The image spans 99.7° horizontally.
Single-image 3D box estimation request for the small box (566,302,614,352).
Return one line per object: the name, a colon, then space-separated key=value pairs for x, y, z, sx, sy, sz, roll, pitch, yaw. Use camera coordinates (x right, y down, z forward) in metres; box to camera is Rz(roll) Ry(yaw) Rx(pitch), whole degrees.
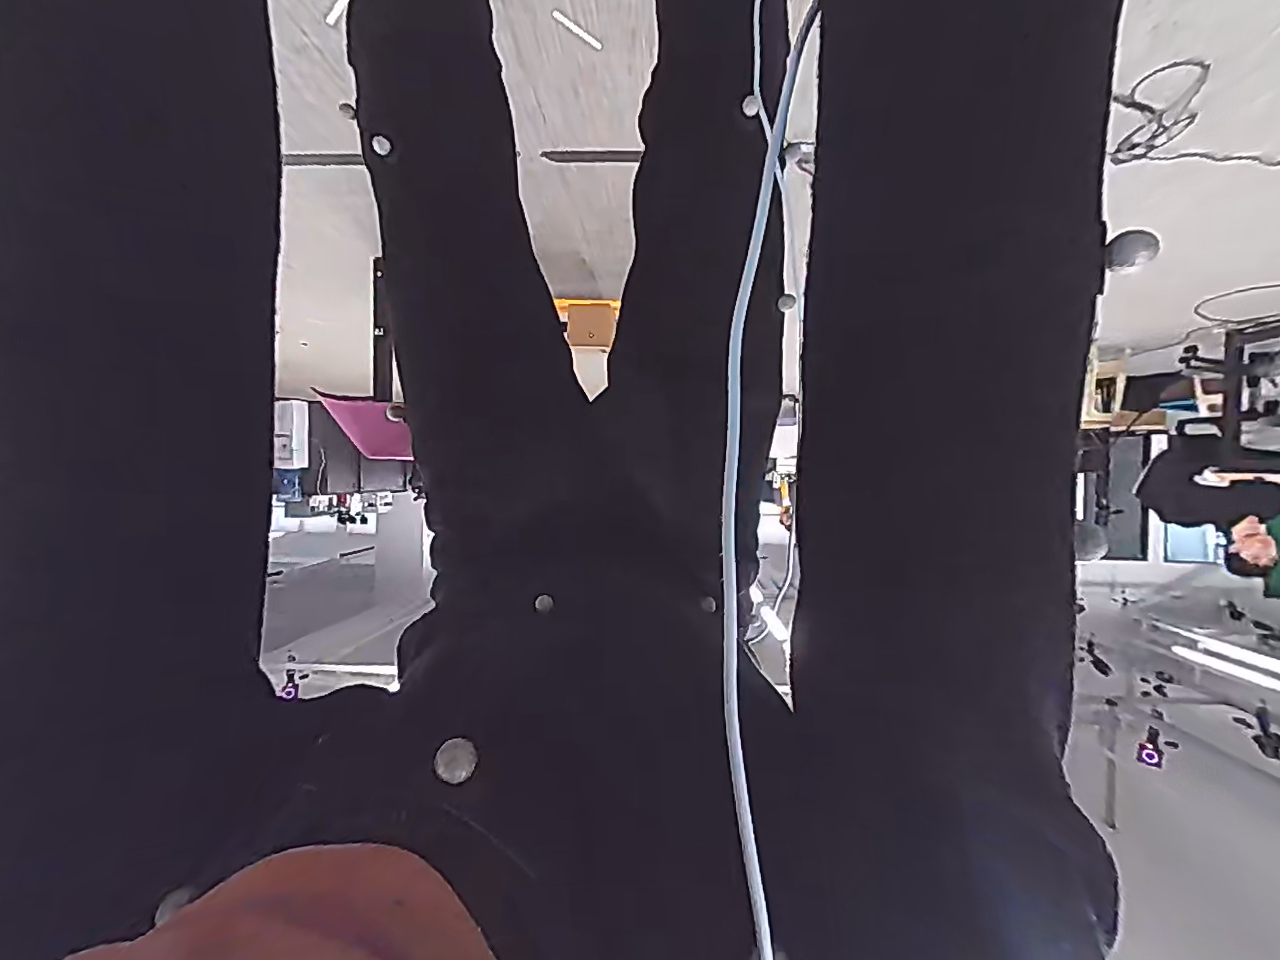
small box: x=-0.202 y=-0.628 z=2.222 sx=0.179 sy=0.176 sz=0.168 roll=3 pitch=-178 yaw=5
